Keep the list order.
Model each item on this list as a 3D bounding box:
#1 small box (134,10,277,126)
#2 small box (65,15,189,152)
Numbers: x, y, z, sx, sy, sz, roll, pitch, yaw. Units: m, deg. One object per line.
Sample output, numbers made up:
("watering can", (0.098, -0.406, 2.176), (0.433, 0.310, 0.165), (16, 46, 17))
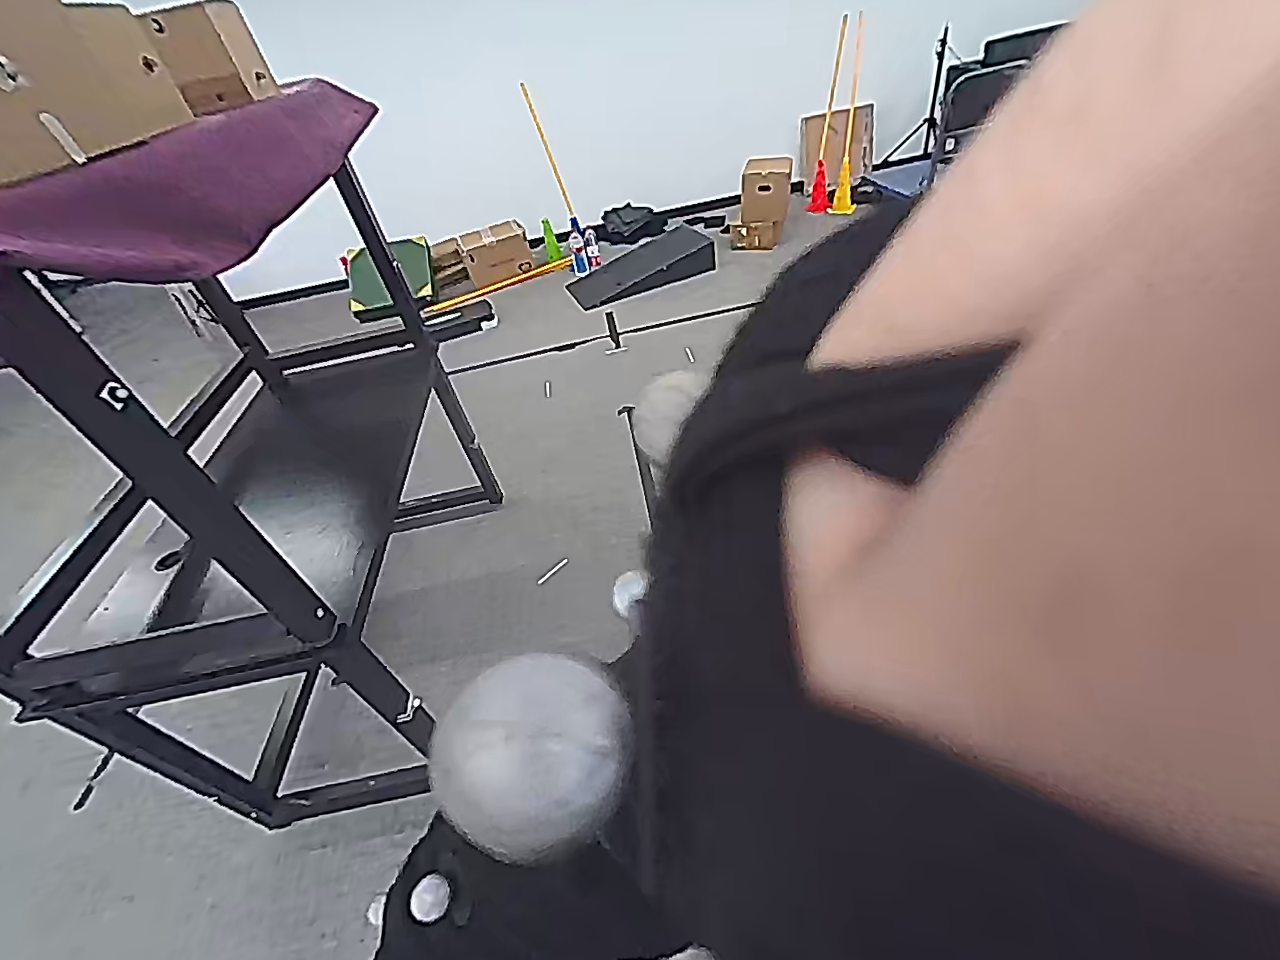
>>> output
("small box", (-0.920, -0.873, 1.152), (0.168, 0.176, 0.179), (-14, 41, -1))
("small box", (-0.896, -0.630, 0.880), (0.168, 0.176, 0.179), (-12, 42, 1))
